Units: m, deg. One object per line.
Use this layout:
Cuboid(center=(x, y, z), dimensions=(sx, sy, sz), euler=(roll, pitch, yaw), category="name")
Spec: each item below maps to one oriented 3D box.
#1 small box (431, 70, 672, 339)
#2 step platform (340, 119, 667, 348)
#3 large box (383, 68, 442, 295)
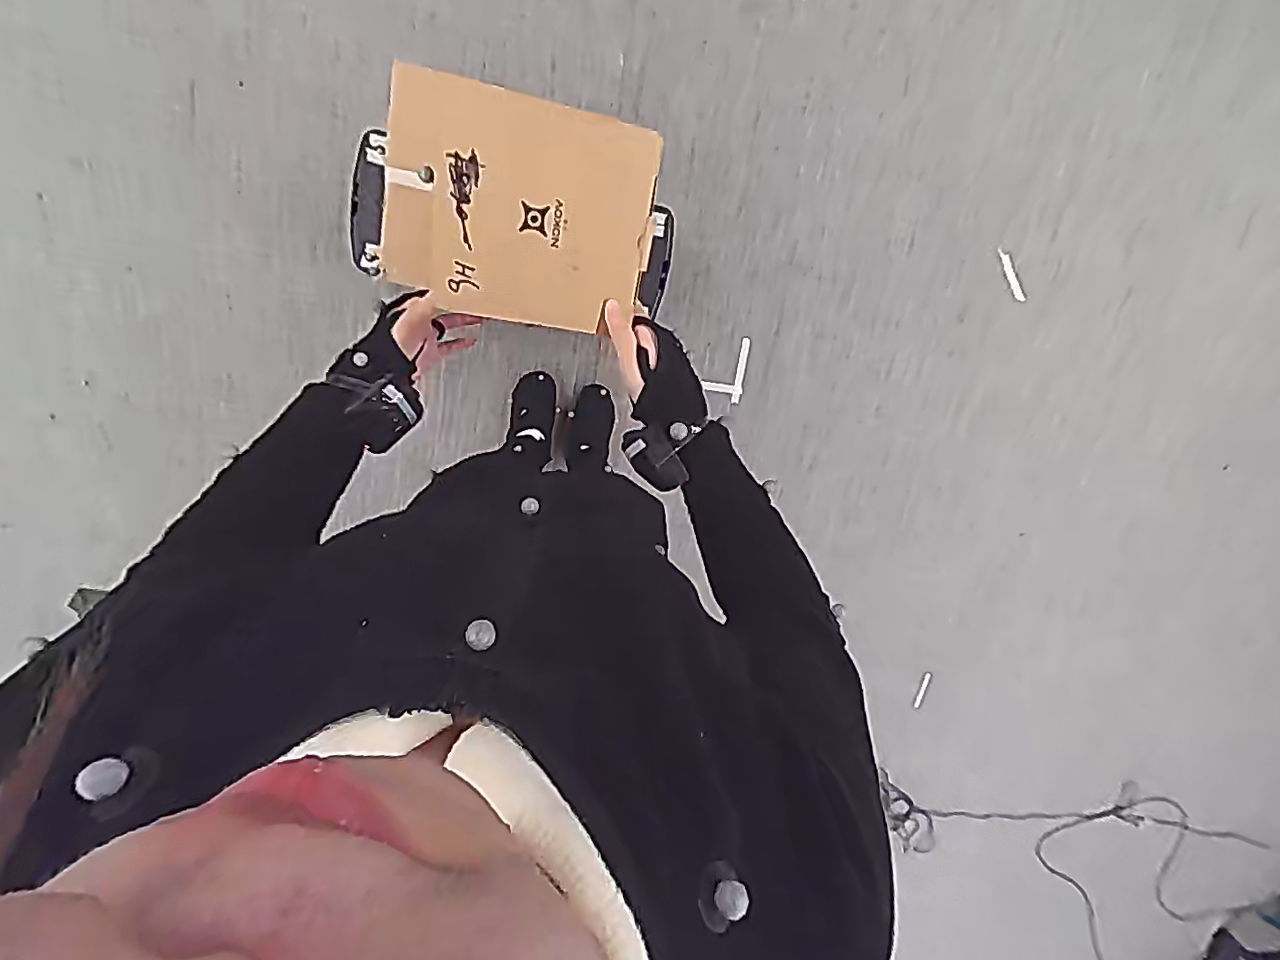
Cuboid(center=(-0.089, -0.238, 0.502), dimensions=(0.179, 0.176, 0.168), euler=(5, 111, -15), category="small box")
Cuboid(center=(-0.286, -0.528, 1.218), dimensions=(0.684, 0.204, 0.286), euler=(15, 104, -10), category="step platform")
Cuboid(center=(-0.203, -0.470, 0.995), dimensions=(0.408, 0.320, 0.320), euler=(10, 104, -8), category="large box")
